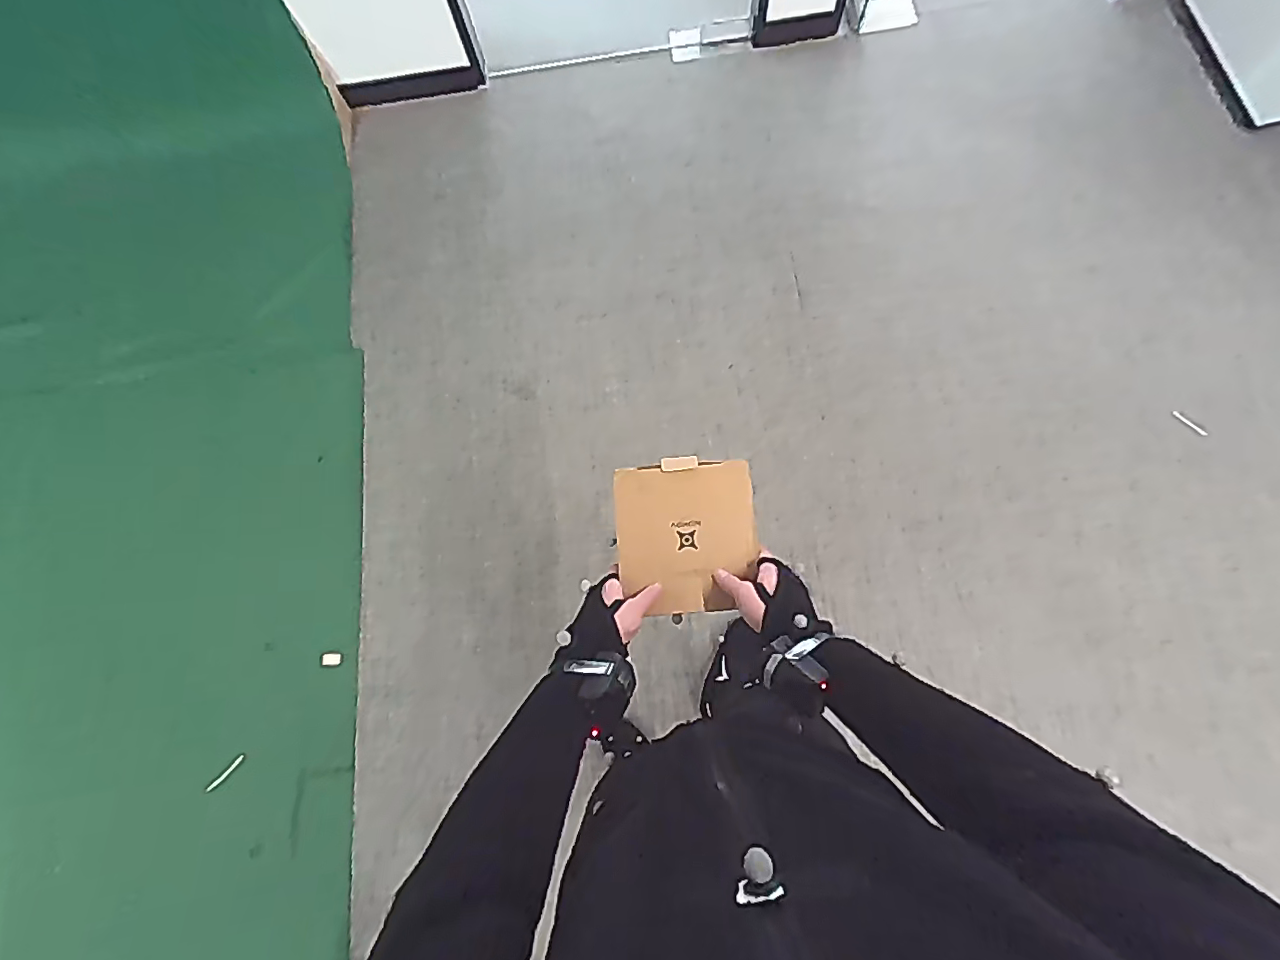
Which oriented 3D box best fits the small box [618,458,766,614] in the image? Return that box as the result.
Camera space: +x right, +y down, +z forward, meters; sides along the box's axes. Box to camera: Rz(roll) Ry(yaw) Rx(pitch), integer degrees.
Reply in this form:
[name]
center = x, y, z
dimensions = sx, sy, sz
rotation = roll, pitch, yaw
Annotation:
[small box]
center = 0.057, 0.078, 0.692
dimensions = 0.168, 0.176, 0.179
rotation = -3, 78, 1
